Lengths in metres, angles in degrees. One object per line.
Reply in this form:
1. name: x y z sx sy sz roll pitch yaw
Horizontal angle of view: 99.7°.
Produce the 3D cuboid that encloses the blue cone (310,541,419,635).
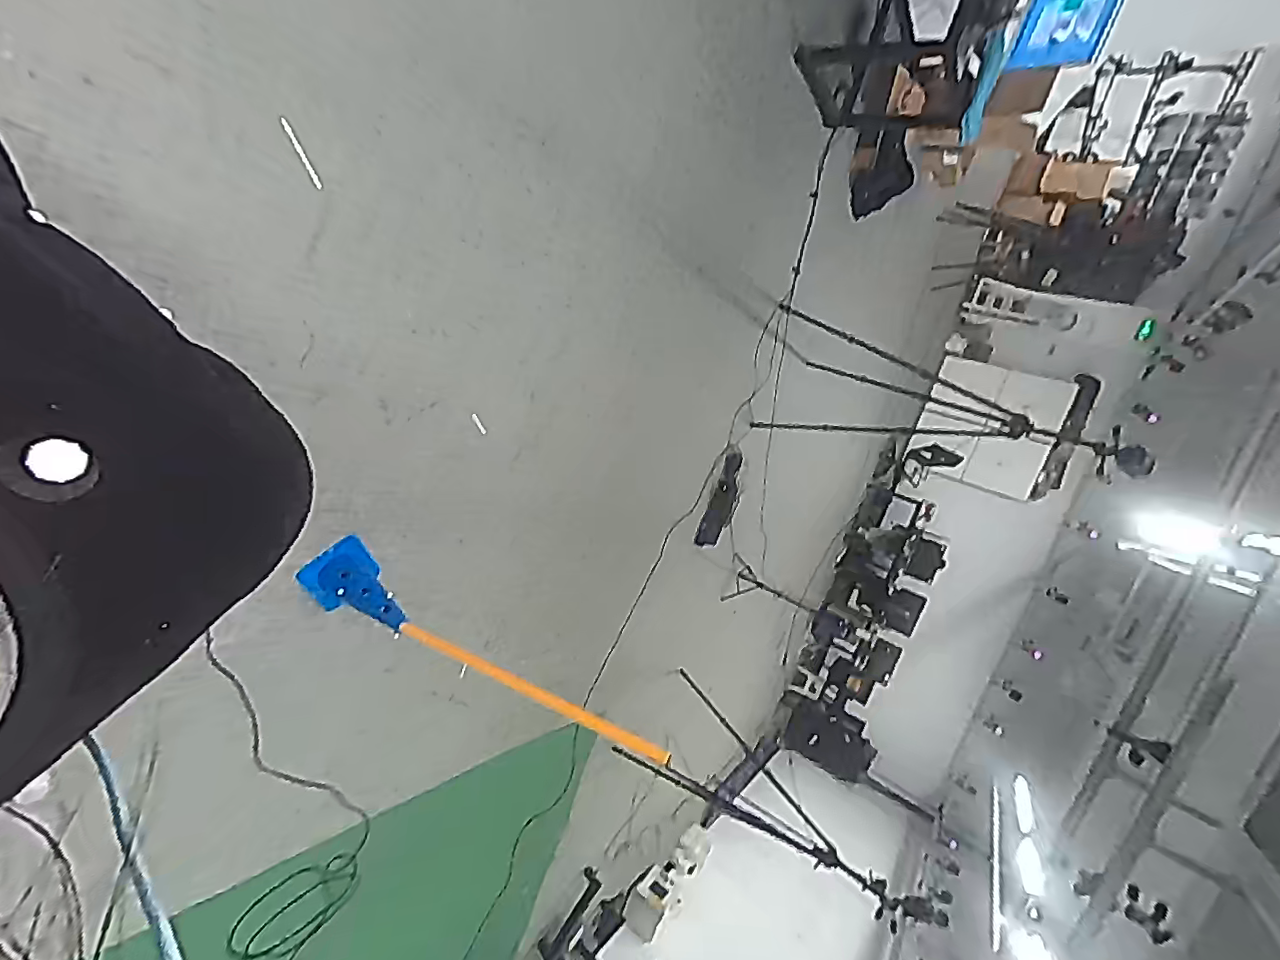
1. blue cone: -0.778 0.350 1.597 0.193 0.380 0.192 -47 143 -31
